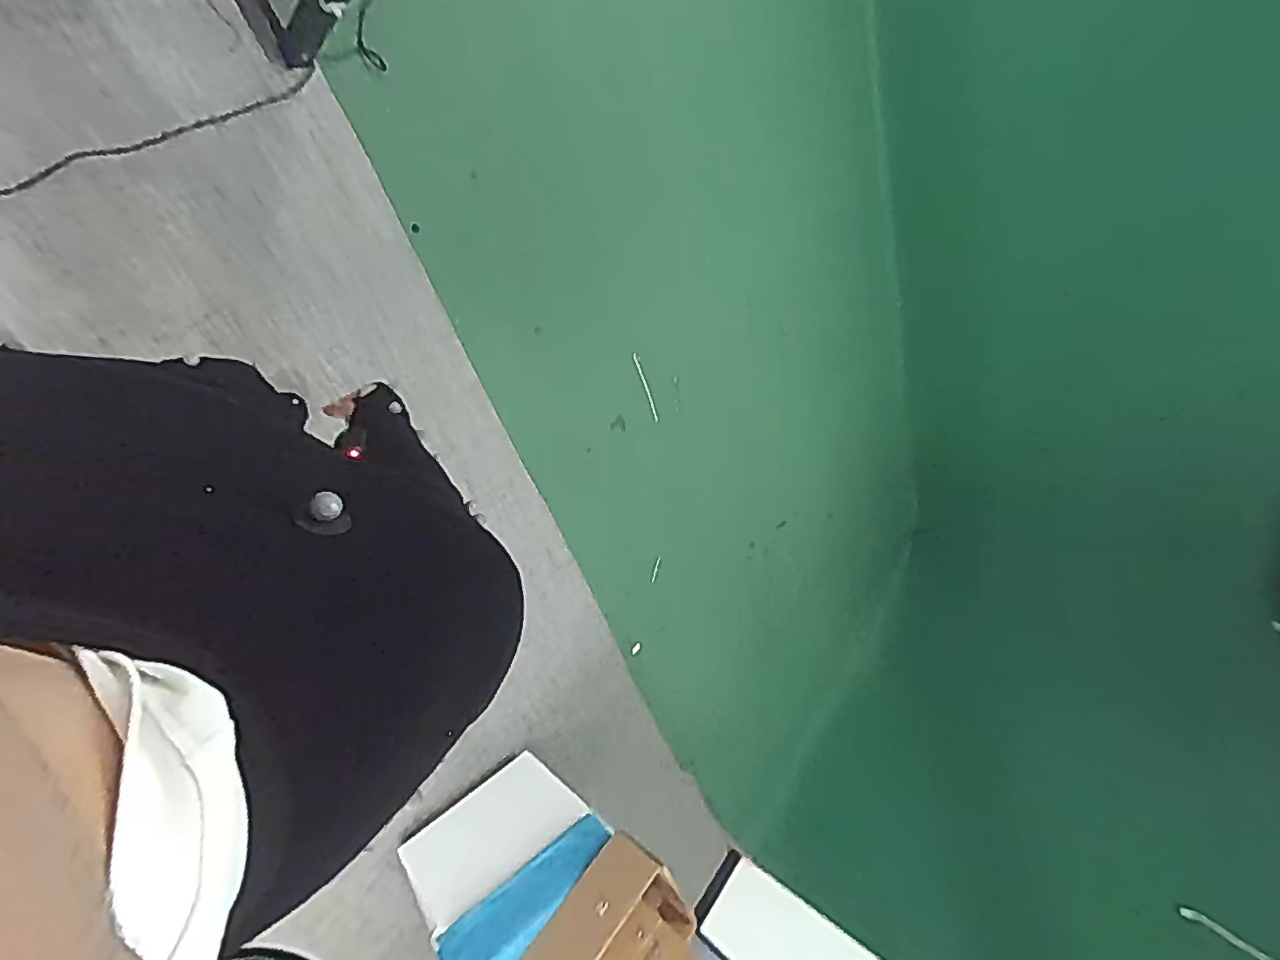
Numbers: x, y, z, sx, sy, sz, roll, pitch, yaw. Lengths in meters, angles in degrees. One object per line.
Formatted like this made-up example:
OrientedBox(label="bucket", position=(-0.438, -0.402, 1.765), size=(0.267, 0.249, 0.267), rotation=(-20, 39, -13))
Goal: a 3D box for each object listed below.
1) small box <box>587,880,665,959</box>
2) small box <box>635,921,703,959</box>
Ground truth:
OrientedBox(label="small box", position=(-0.024, 1.306, 1.552), size=(0.168, 0.176, 0.179), rotation=(-40, 126, -31))
OrientedBox(label="small box", position=(0.092, 1.338, 1.441), size=(0.168, 0.176, 0.179), rotation=(-40, 125, -31))
